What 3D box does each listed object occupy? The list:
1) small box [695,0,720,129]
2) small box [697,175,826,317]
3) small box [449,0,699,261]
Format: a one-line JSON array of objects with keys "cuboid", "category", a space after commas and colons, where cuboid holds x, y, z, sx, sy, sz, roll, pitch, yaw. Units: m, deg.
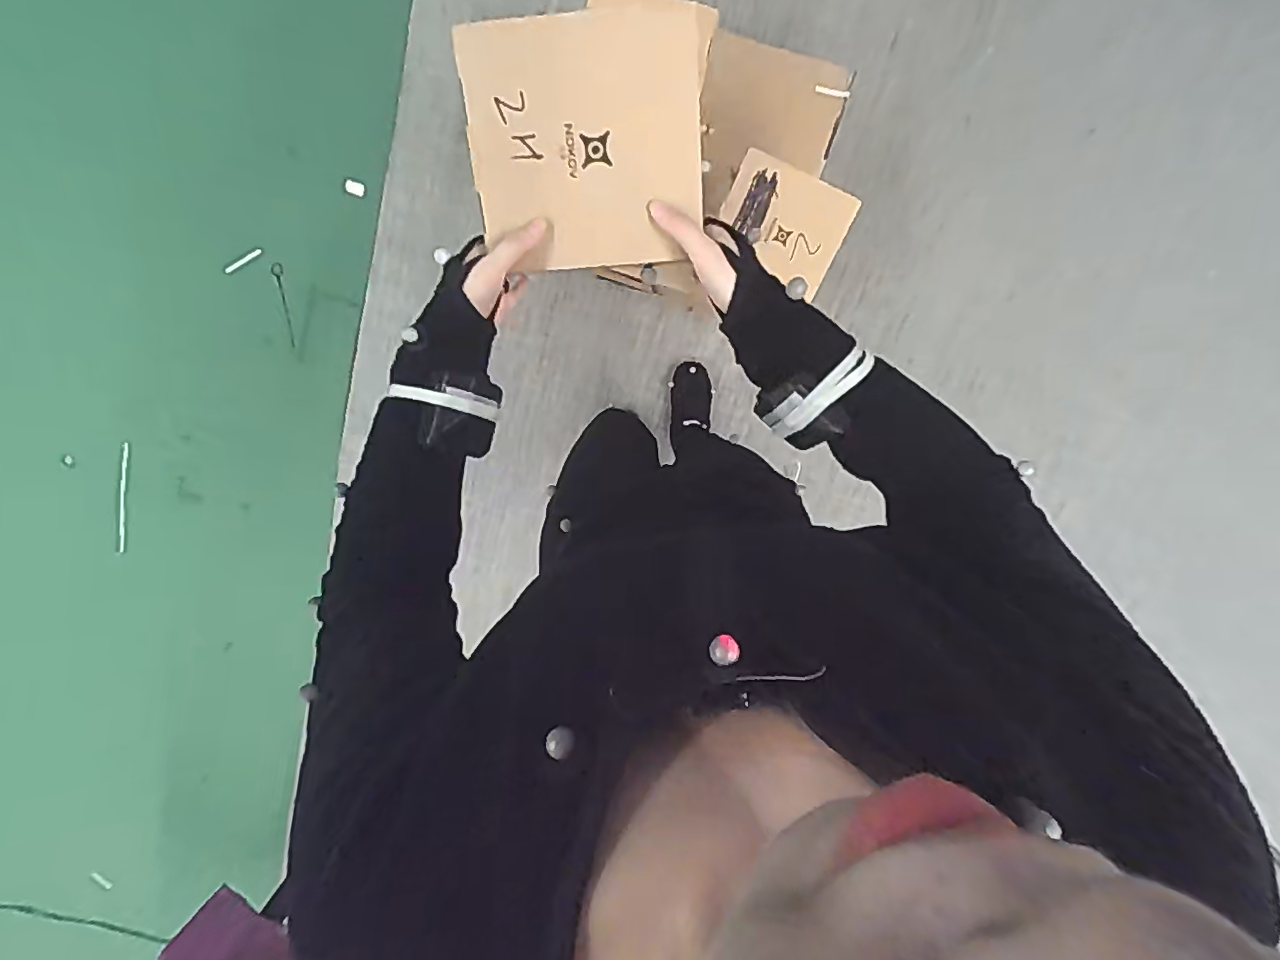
[{"cuboid": [0.006, -0.582, 0.795, 0.179, 0.176, 0.168, 15, 102, 1], "category": "small box"}, {"cuboid": [0.207, -0.412, 0.983, 0.168, 0.176, 0.179, 20, 103, -1], "category": "small box"}, {"cuboid": [-0.043, -0.288, 0.479, 0.179, 0.176, 0.168, -2, 112, 3], "category": "small box"}]
